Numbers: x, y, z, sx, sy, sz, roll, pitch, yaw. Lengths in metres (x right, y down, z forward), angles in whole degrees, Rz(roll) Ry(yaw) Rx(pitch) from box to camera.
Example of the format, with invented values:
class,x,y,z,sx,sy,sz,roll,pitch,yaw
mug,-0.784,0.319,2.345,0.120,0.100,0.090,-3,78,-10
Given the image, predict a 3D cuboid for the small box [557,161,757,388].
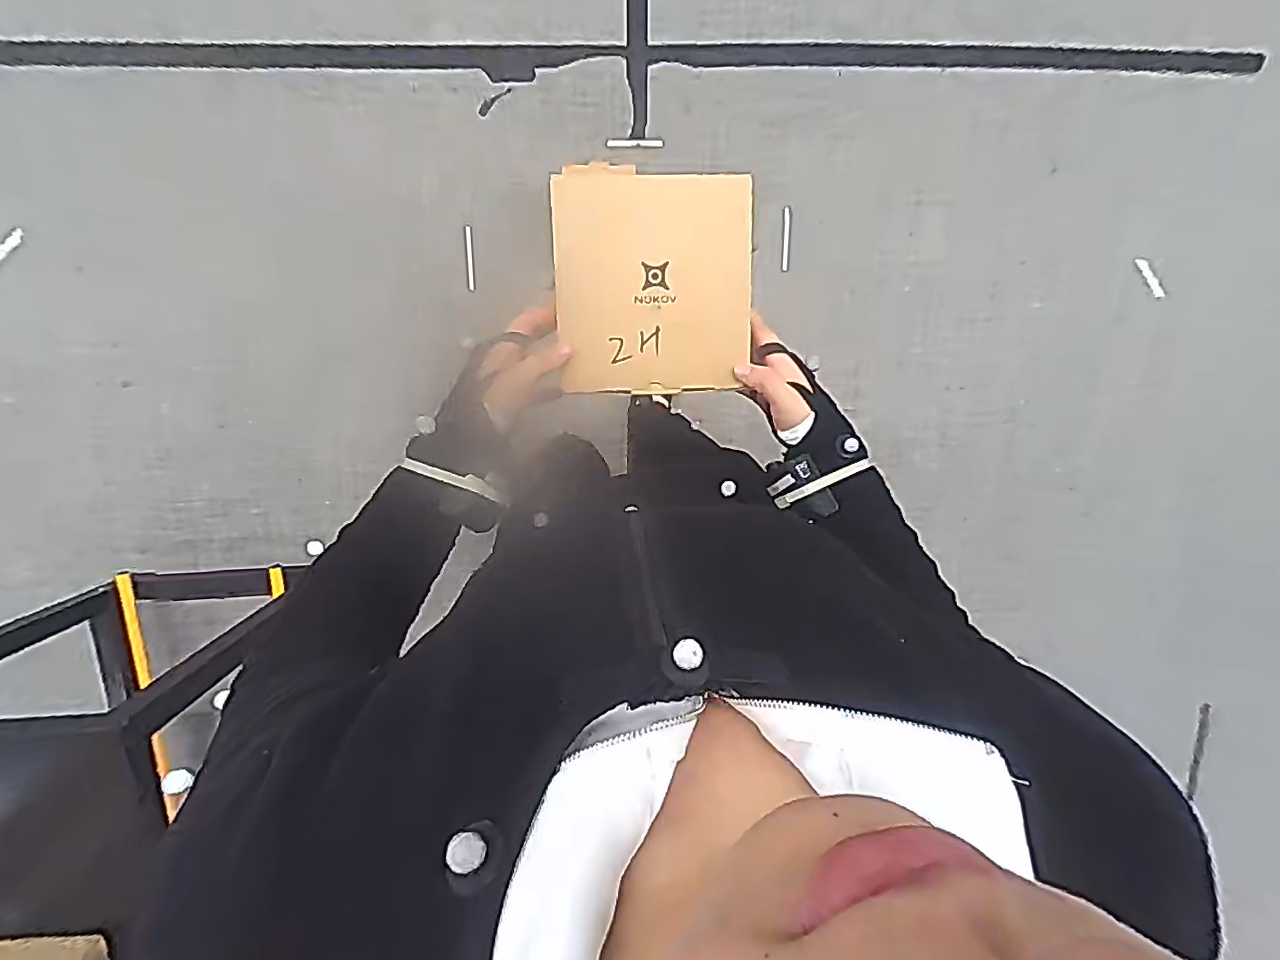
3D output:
class,x,y,z,sx,sy,sz,roll,pitch,yaw
small box,0.010,-0.181,0.523,0.168,0.176,0.179,-2,100,-3
